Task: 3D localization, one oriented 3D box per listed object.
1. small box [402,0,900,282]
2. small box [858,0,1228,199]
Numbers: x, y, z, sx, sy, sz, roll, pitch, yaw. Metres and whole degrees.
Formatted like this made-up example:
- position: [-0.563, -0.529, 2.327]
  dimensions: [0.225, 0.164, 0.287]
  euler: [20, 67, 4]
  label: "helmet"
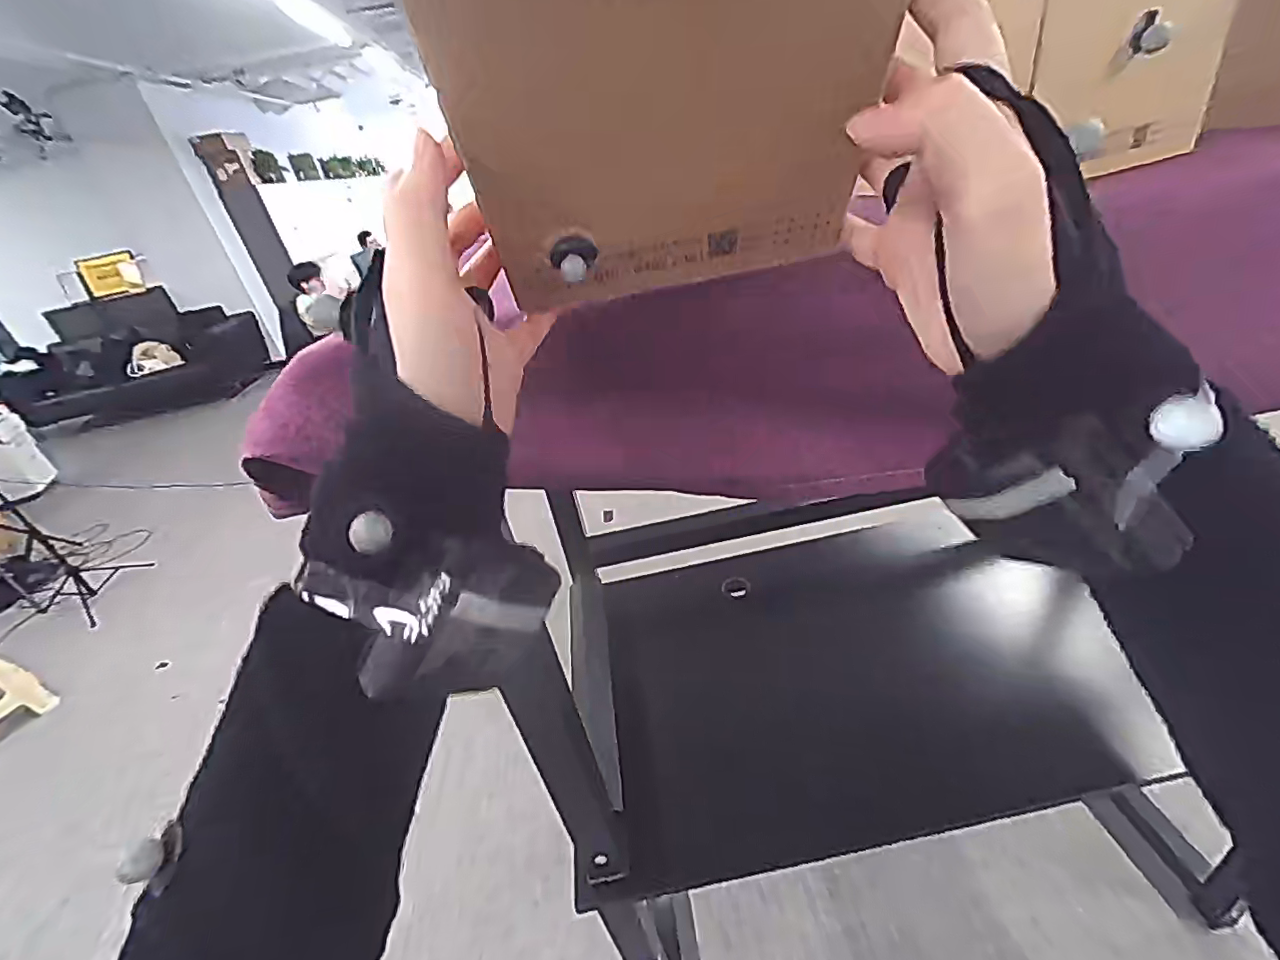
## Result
- position: [0.000, -0.209, 0.232]
  dimensions: [0.168, 0.176, 0.179]
  euler: [-12, 65, -1]
  label: "small box"
- position: [0.288, -0.321, 0.409]
  dimensions: [0.168, 0.176, 0.179]
  euler: [-18, 31, -10]
  label: "small box"
